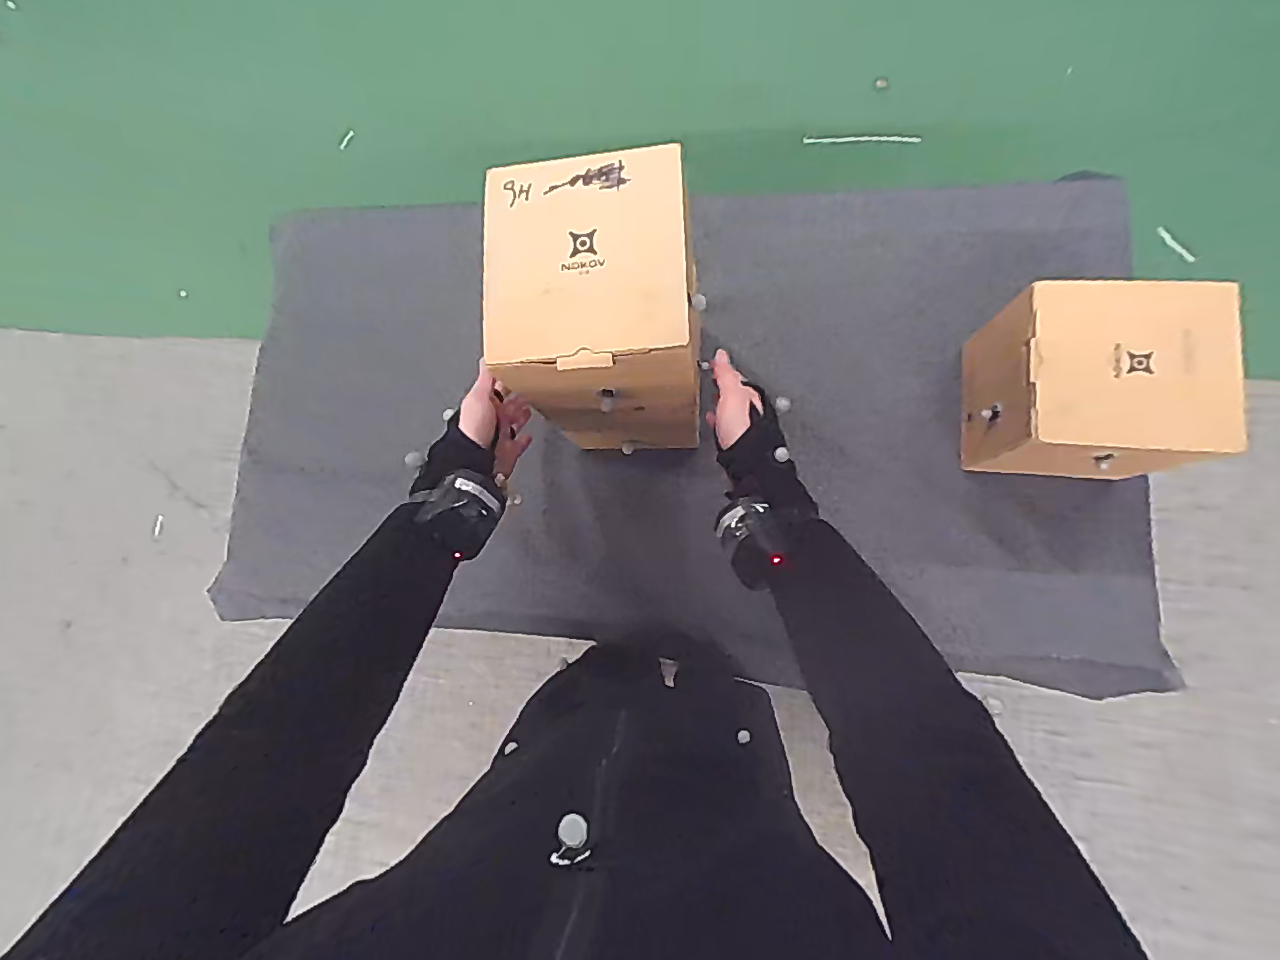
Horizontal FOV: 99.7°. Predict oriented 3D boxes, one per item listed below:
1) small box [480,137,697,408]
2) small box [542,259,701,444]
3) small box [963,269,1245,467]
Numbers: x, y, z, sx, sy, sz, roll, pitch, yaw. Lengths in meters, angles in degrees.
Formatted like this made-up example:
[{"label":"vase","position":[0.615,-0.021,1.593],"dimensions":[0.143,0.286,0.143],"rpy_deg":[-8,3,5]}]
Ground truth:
[{"label":"small box","position":[-0.036,-0.170,0.505],"dimensions":[0.168,0.176,0.179],"rpy_deg":[-4,82,8]},{"label":"small box","position":[-0.012,-0.146,0.665],"dimensions":[0.168,0.176,0.179],"rpy_deg":[0,83,9]},{"label":"small box","position":[0.473,-0.109,0.584],"dimensions":[0.179,0.176,0.168],"rpy_deg":[3,84,9]}]
